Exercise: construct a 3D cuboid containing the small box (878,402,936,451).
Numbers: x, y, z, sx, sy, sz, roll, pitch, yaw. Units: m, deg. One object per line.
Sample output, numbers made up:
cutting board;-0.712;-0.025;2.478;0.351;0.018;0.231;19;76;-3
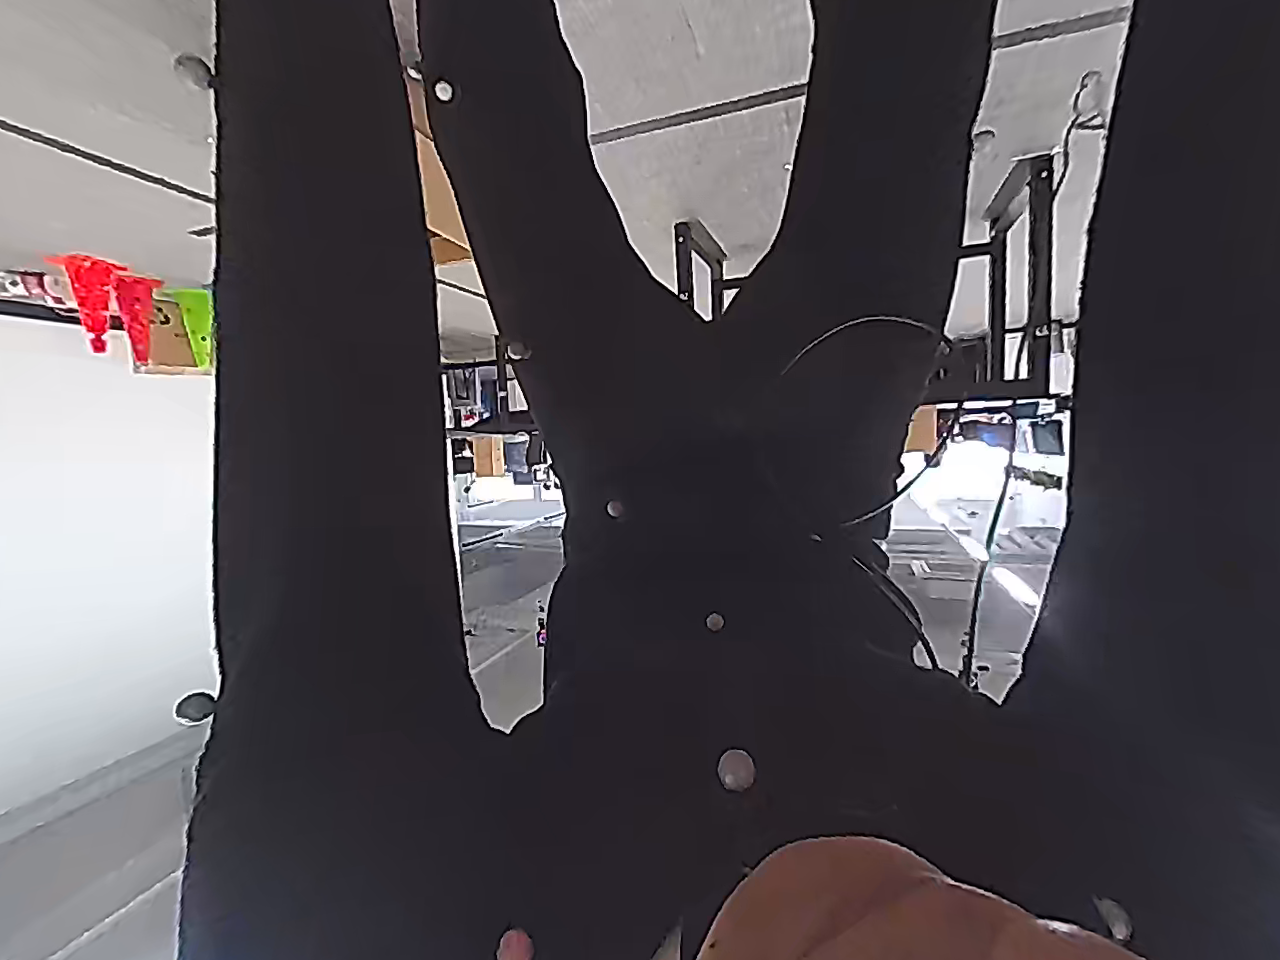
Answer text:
small box;0.981;-0.198;1.991;0.168;0.176;0.179;-2;-175;14
